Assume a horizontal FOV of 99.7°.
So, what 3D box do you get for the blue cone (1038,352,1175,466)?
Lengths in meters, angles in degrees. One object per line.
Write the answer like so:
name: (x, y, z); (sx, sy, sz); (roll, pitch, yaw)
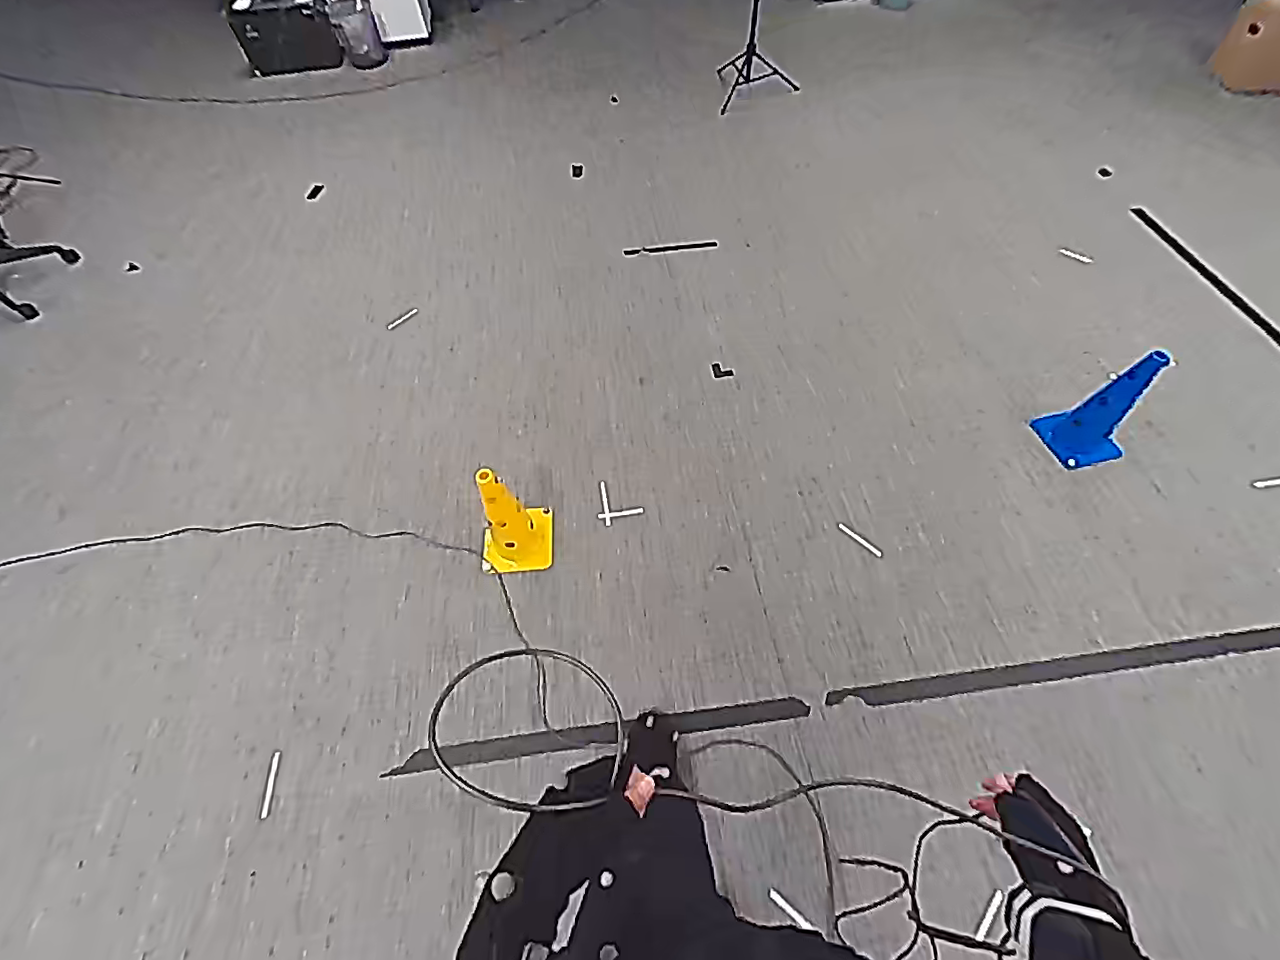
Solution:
blue cone: (1.359, -0.224, 1.546); (0.193, 0.380, 0.192); (-12, 58, -5)
